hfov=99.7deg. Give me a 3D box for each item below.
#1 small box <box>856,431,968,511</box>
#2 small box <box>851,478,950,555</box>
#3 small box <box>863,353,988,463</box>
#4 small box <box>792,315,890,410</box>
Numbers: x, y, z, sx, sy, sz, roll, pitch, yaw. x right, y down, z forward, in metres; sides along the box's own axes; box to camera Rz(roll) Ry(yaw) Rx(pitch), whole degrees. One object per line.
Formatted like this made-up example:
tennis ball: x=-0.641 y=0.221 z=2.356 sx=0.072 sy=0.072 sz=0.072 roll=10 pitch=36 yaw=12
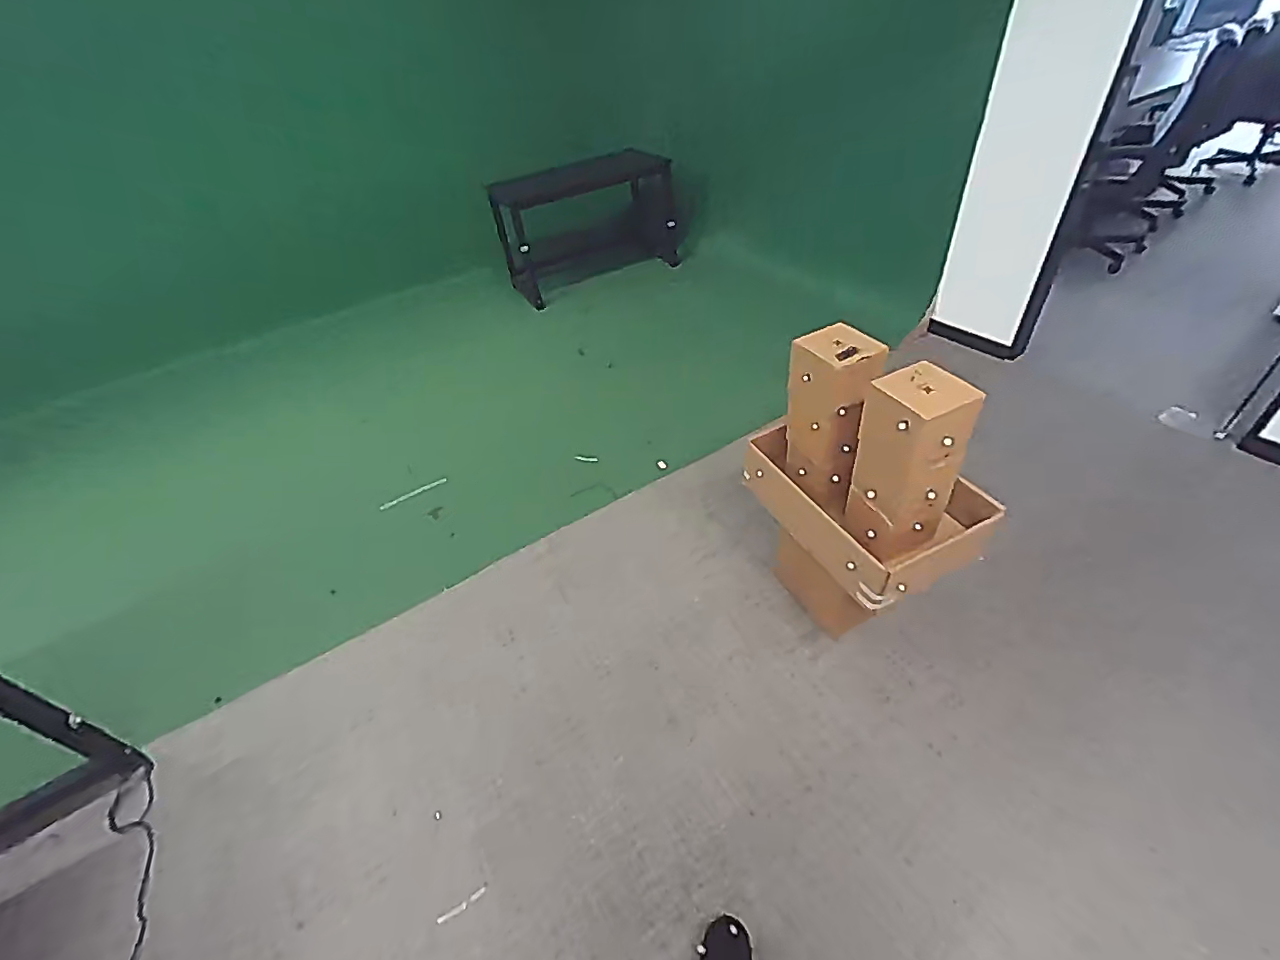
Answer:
small box: x=0.671 y=-0.043 z=1.357 sx=0.168 sy=0.176 sz=0.179 roll=-20 pitch=45 yaw=-10
small box: x=0.695 y=0.075 z=1.467 sx=0.179 sy=0.176 sz=0.168 roll=-20 pitch=44 yaw=-9
small box: x=0.643 y=-0.159 z=1.242 sx=0.168 sy=0.176 sz=0.179 roll=-22 pitch=44 yaw=-12
small box: x=0.521 y=-0.303 z=1.422 sx=0.168 sy=0.176 sz=0.179 roll=-23 pitch=44 yaw=-14
